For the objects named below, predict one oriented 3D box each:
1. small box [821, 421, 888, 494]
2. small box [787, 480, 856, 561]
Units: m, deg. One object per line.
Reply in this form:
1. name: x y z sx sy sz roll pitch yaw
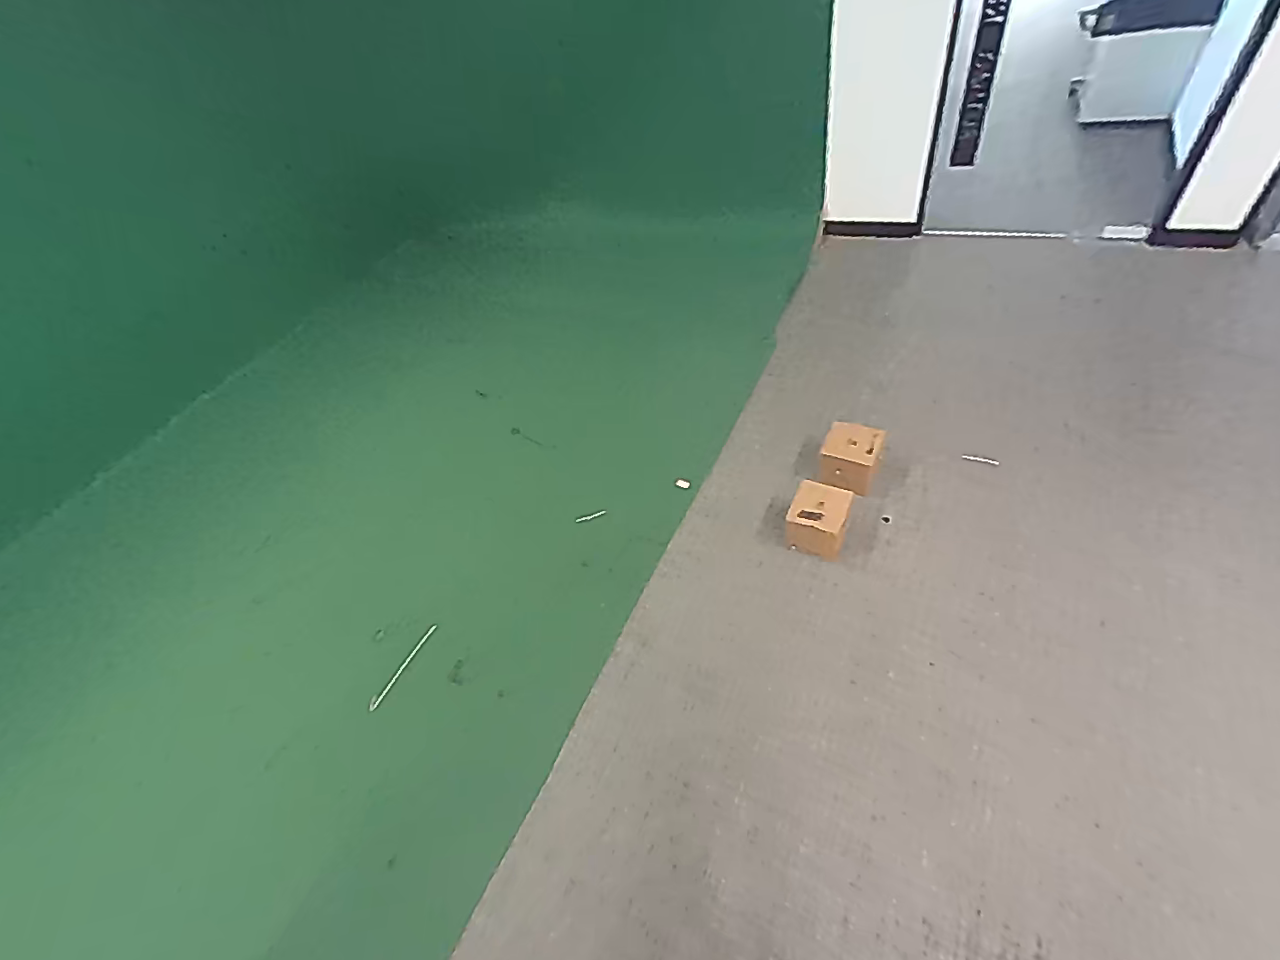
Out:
1. small box: 0.739 -0.075 1.876 0.179 0.176 0.168 18 58 29
2. small box: 0.585 0.133 1.745 0.168 0.176 0.179 17 57 27
